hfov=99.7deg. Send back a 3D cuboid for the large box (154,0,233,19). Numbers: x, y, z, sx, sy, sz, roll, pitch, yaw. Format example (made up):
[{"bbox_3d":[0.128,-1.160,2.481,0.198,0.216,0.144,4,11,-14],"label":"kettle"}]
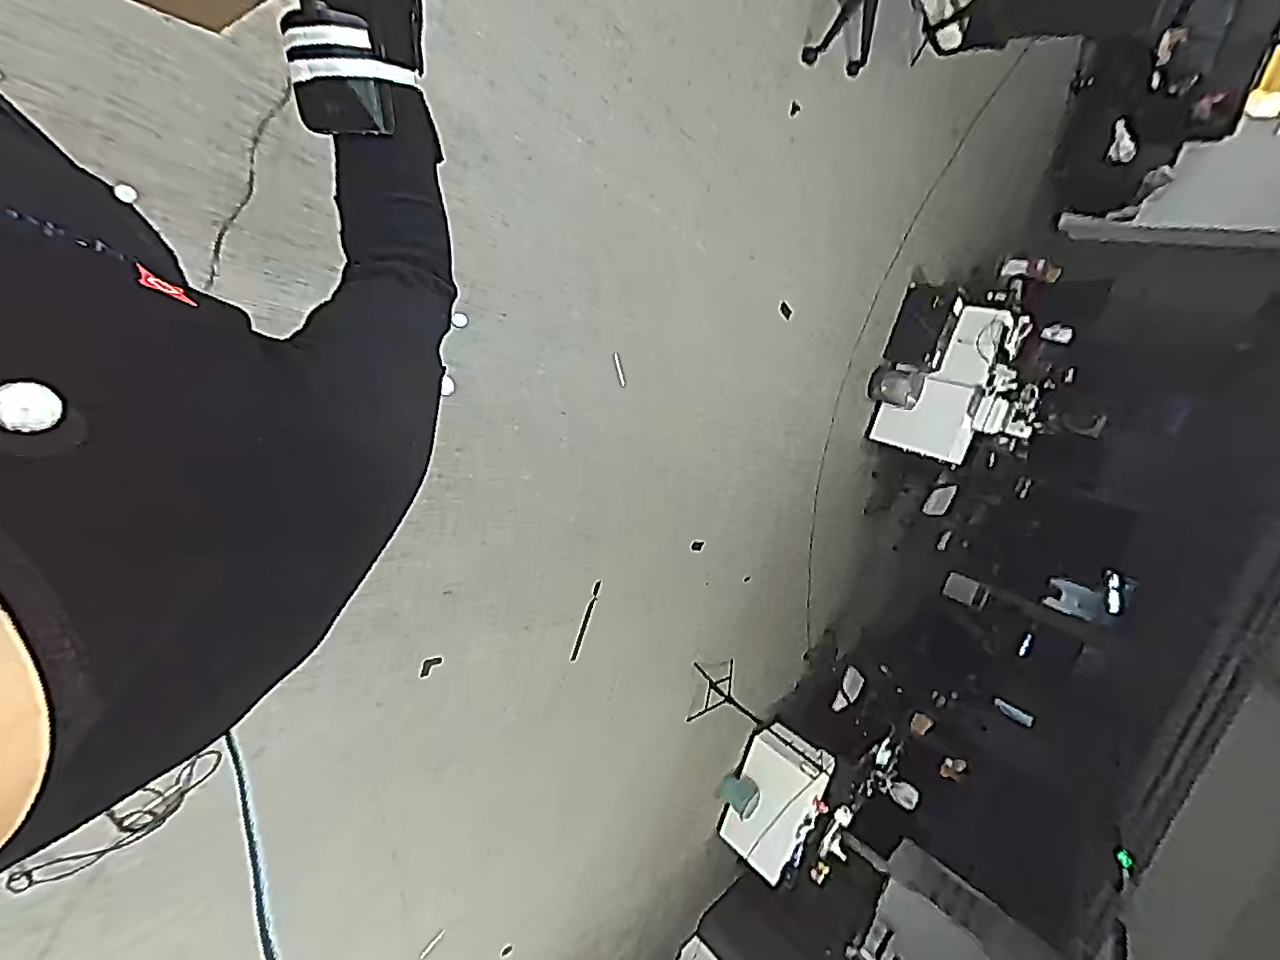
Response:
[{"bbox_3d":[-0.413,-0.496,0.233,0.408,0.320,0.320,-9,119,-45],"label":"large box"}]
